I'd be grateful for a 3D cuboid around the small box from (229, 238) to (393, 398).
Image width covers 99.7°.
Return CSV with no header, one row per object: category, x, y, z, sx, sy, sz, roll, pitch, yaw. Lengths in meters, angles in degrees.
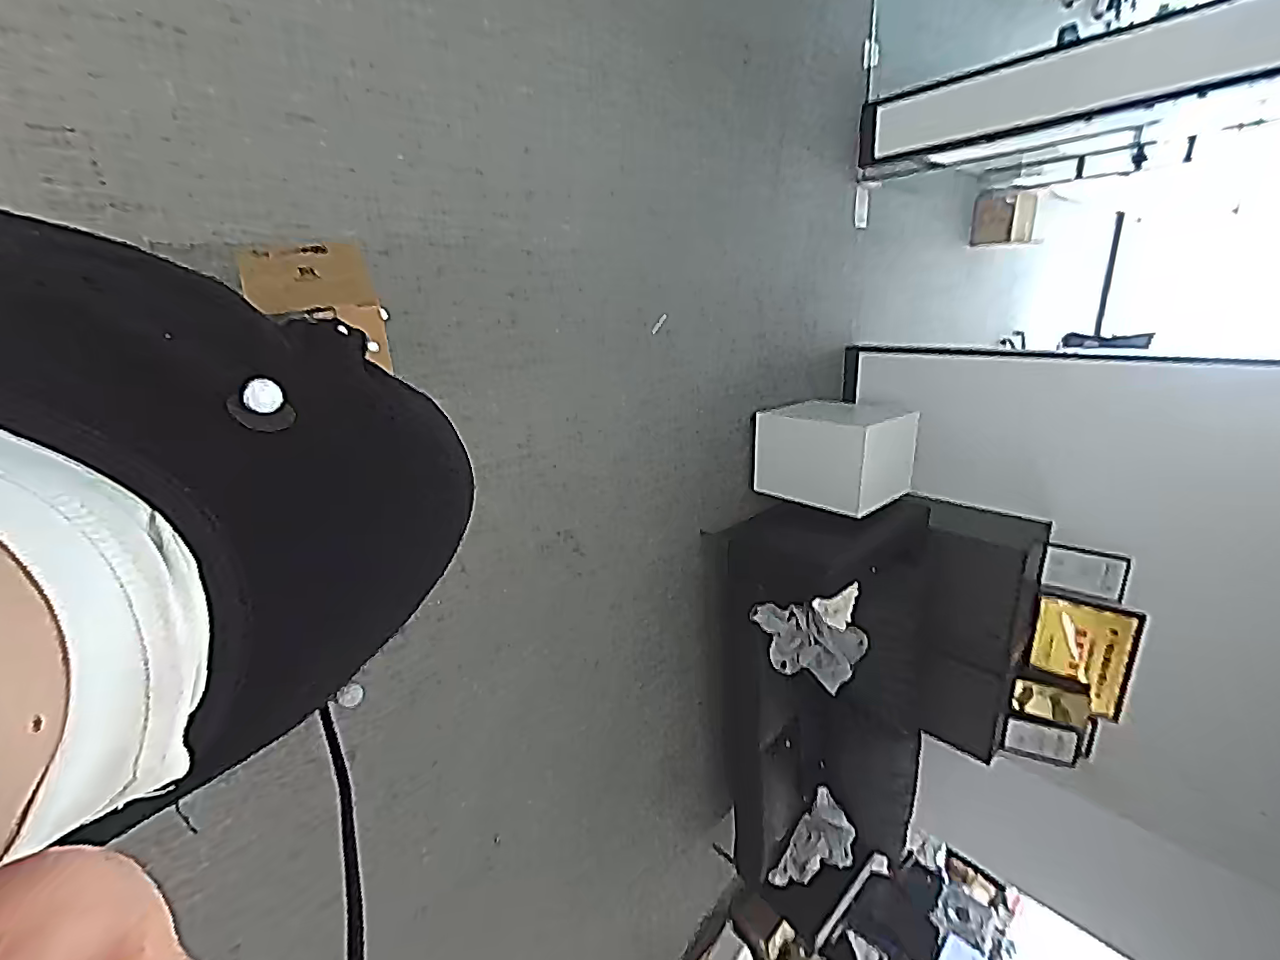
small box,-0.508,-0.248,0.852,0.168,0.179,0.176,-20,150,-25
